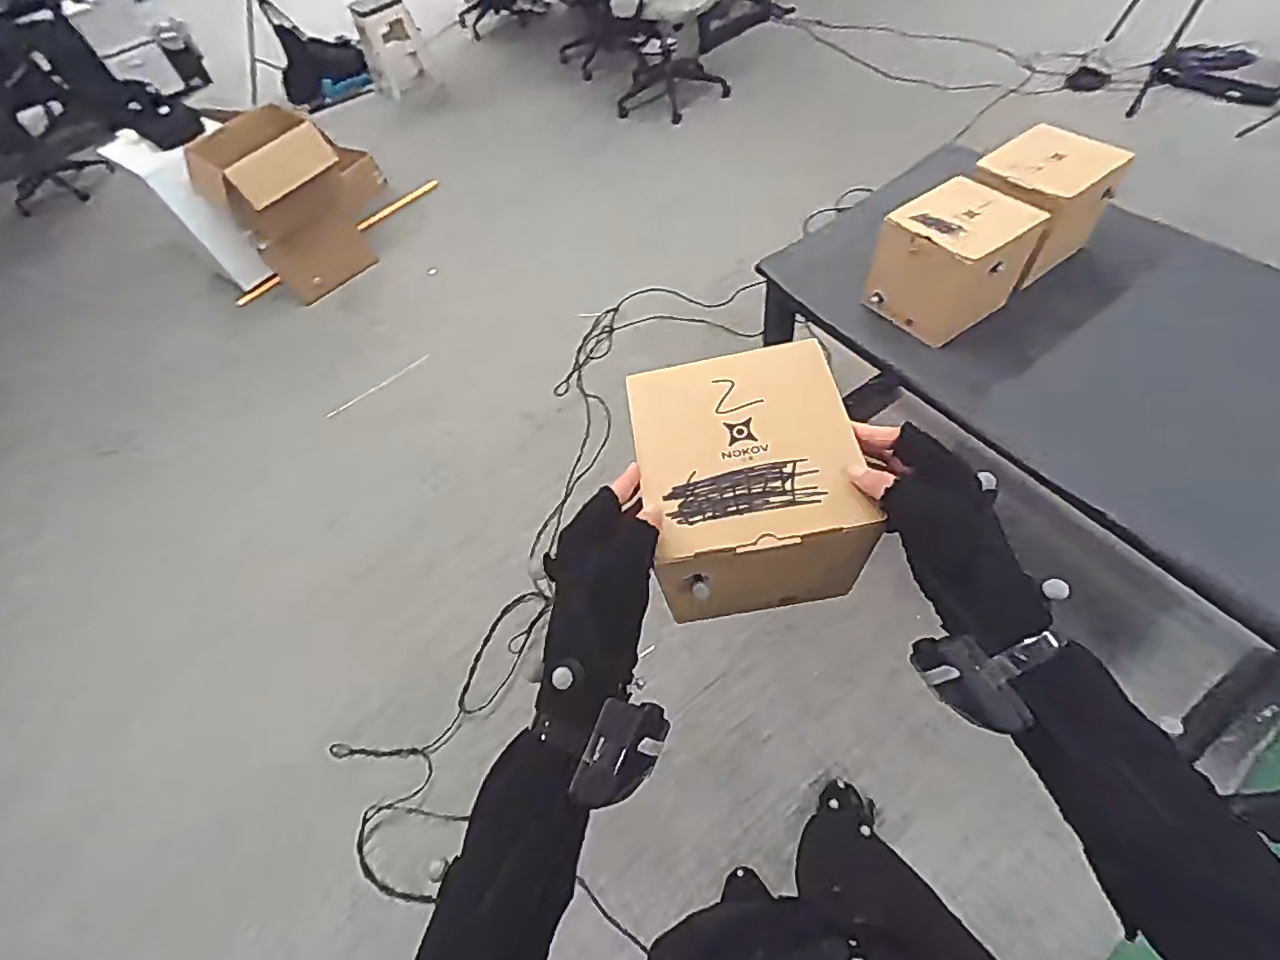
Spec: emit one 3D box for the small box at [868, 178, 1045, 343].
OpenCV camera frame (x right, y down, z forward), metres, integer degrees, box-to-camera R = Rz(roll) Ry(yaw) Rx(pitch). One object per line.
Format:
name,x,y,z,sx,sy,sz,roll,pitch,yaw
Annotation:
small box,0.509,-0.361,0.904,0.179,0.176,0.168,-32,58,-14

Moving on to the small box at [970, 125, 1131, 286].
small box,0.683,-0.480,0.953,0.179,0.176,0.168,-34,58,-12
